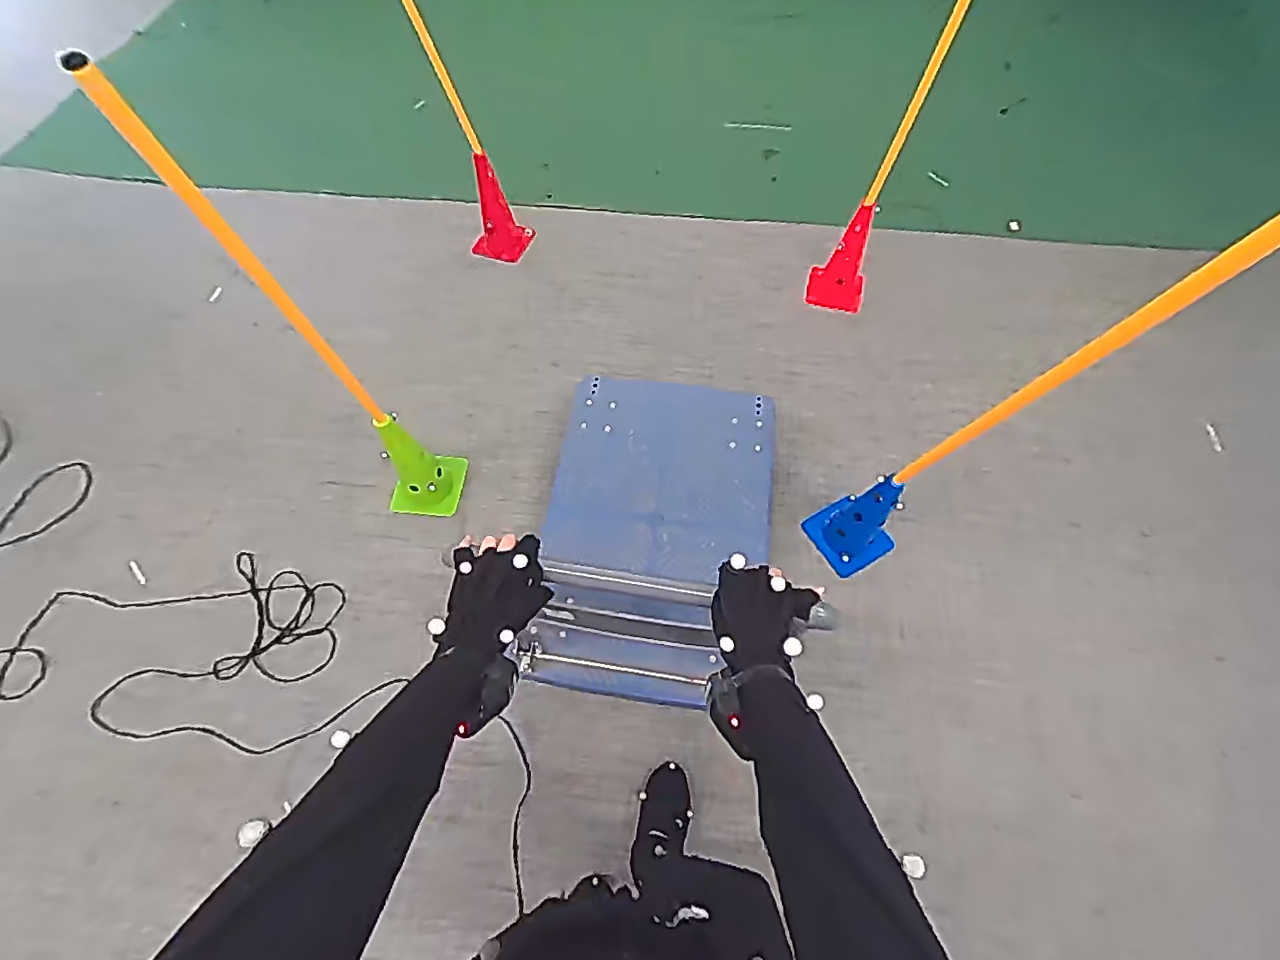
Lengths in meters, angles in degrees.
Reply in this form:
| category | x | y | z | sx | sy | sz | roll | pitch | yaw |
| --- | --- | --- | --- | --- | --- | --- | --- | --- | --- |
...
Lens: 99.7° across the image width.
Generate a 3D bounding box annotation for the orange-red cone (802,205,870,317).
| category | x | y | z | sx | sy | sz | roll | pitch | yaw |
| --- | --- | --- | --- | --- | --- | --- | --- | --- | --- |
| orange-red cone | 0.711 | -0.770 | 1.858 | 0.198 | 0.360 | 0.199 | 15 | 64 | 9 |
